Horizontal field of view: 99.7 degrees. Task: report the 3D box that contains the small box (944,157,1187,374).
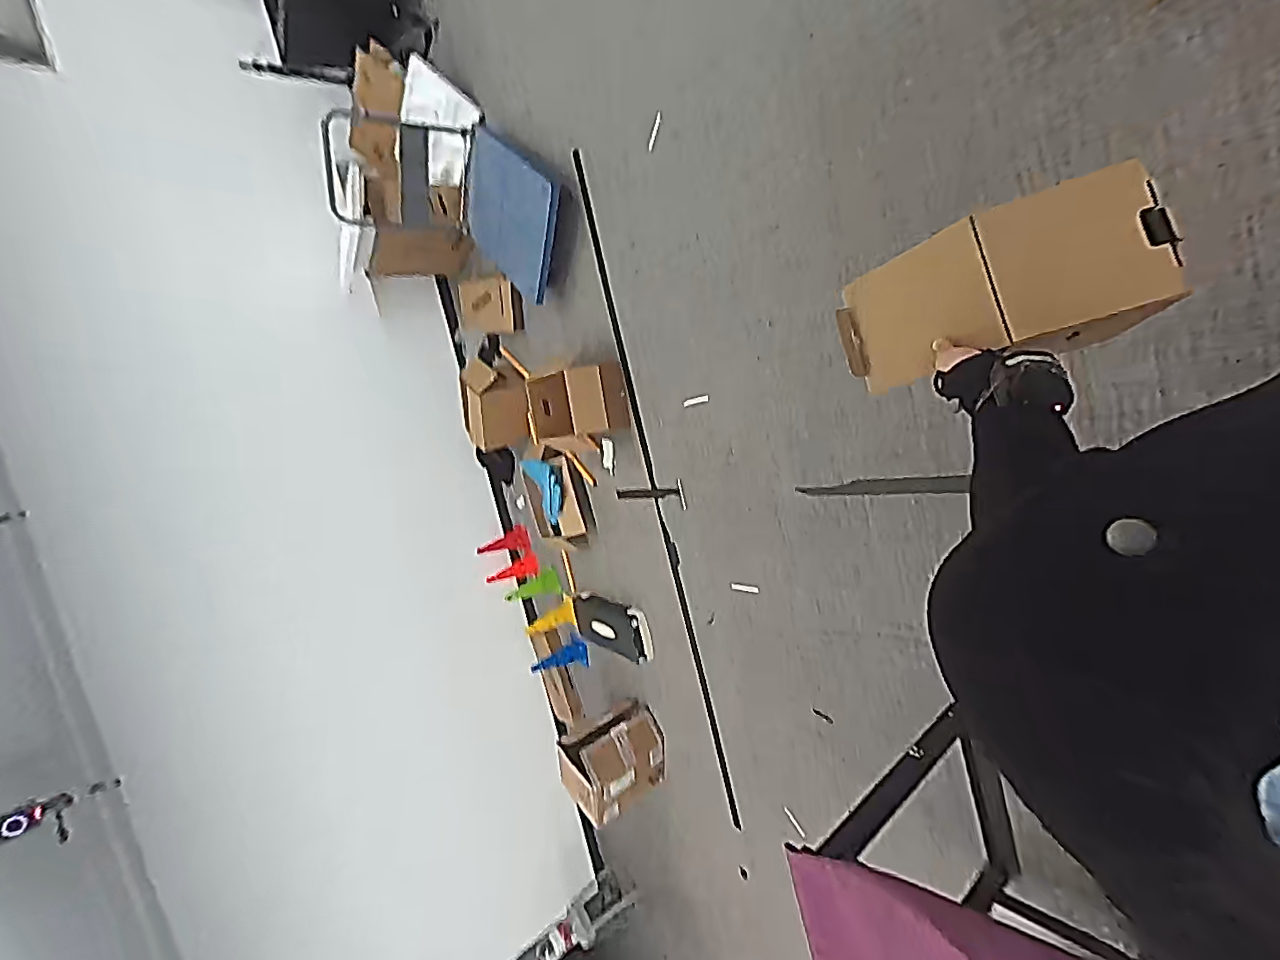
[{"bbox_3d":[0.501,-0.247,0.675,0.179,0.176,0.168,-15,83,17],"label":"small box"}]
